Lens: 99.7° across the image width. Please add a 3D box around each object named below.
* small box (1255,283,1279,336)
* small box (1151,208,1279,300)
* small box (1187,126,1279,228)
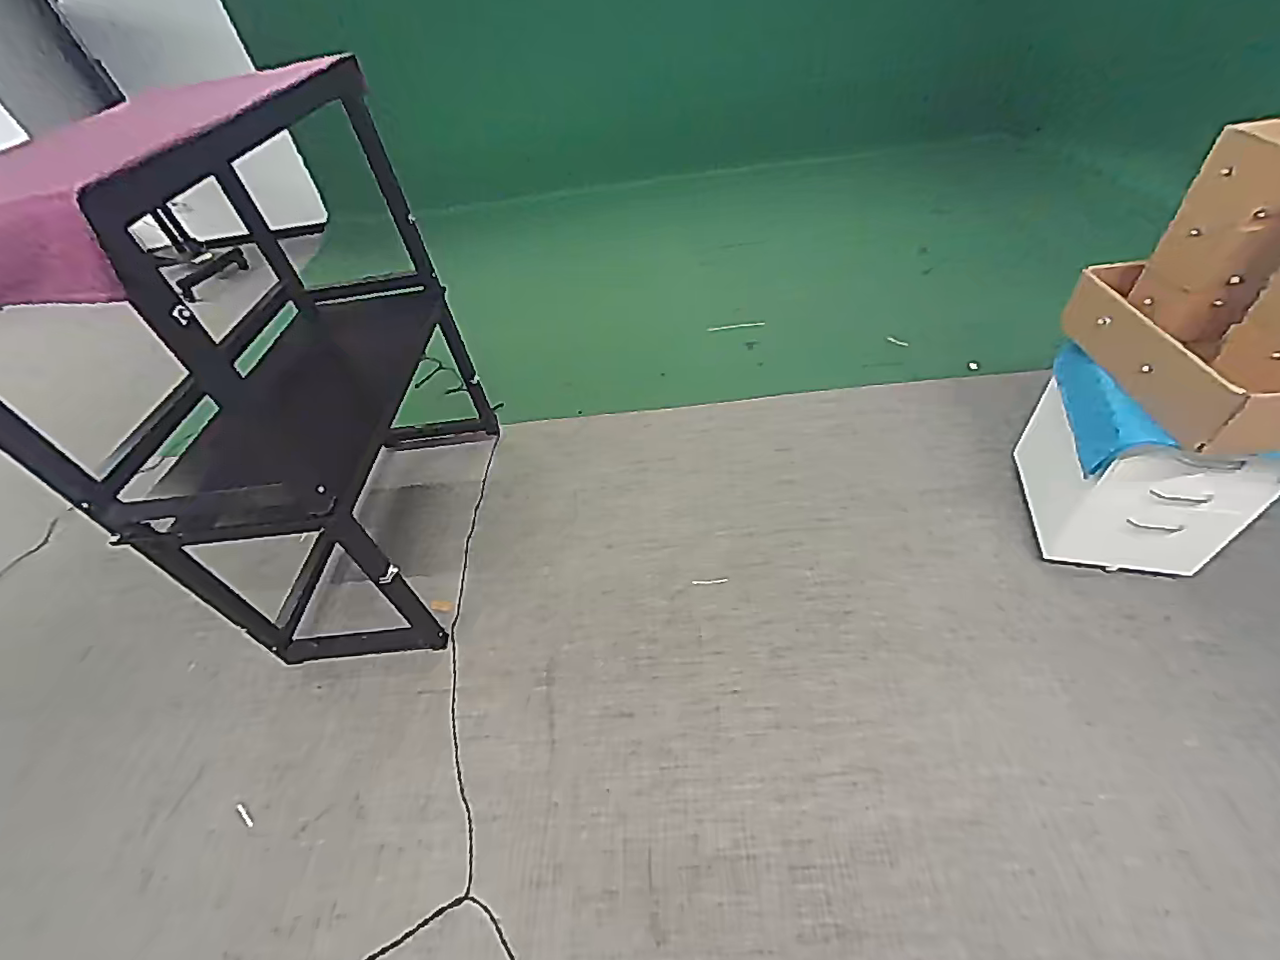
[{"bbox_3d":[1.516,-0.385,1.160,0.168,0.176,0.179,-2,45,8],"label":"small box"},{"bbox_3d":[1.456,-0.572,1.351,0.168,0.176,0.179,-8,46,2],"label":"small box"},{"bbox_3d":[1.441,-0.690,1.239,0.168,0.176,0.179,-5,45,4],"label":"small box"}]
